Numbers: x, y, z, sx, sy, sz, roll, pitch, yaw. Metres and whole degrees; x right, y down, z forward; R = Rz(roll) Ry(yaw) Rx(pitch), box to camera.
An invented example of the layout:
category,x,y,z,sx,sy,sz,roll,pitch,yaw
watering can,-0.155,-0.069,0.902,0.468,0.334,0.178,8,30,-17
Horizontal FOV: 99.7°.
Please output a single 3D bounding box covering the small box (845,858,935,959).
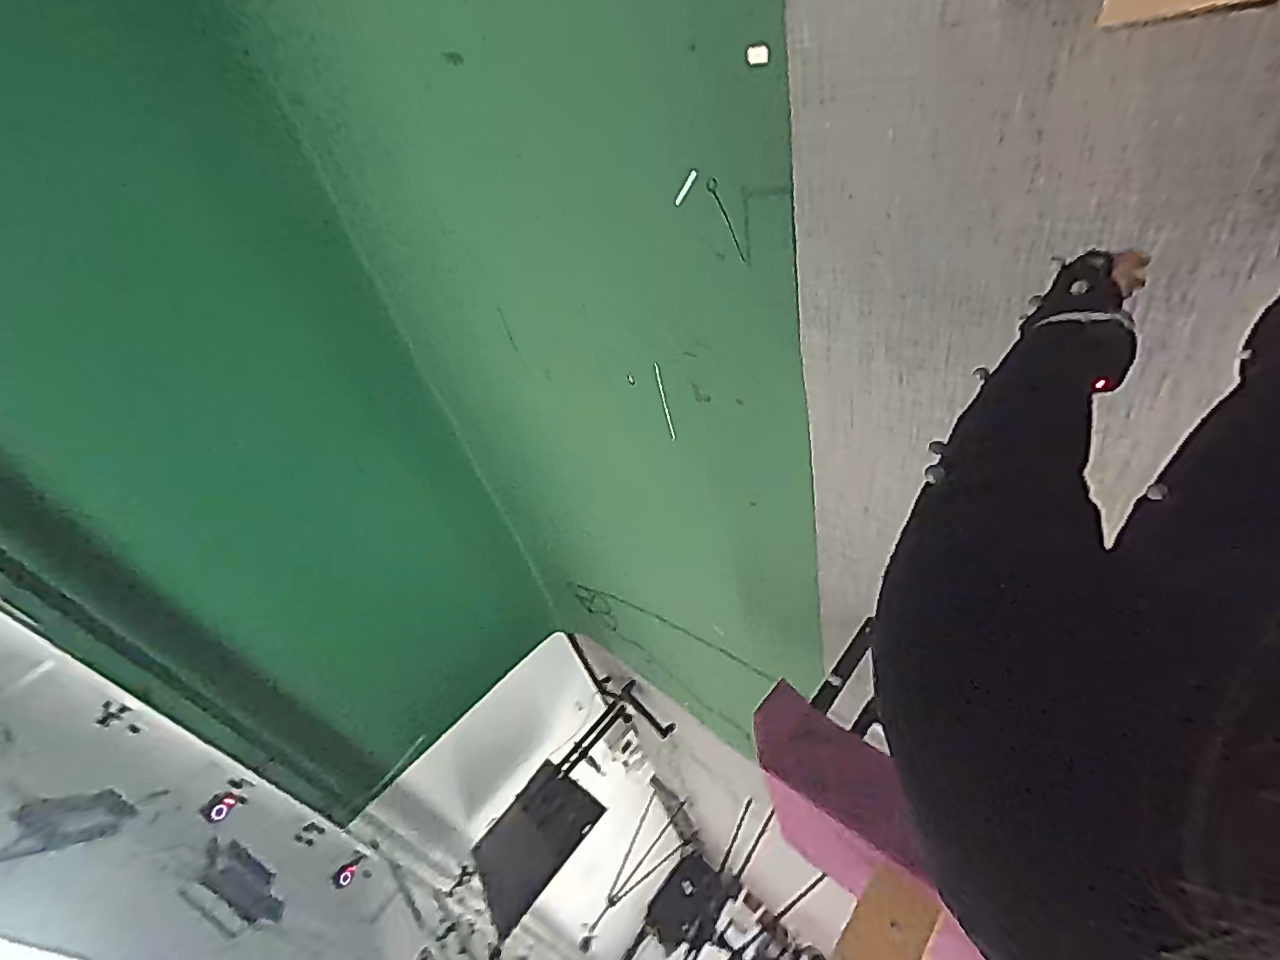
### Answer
category,x,y,z,sx,sy,sz,roll,pitch,yaw
small box,0.692,1.203,1.498,0.179,0.176,0.168,23,142,42
